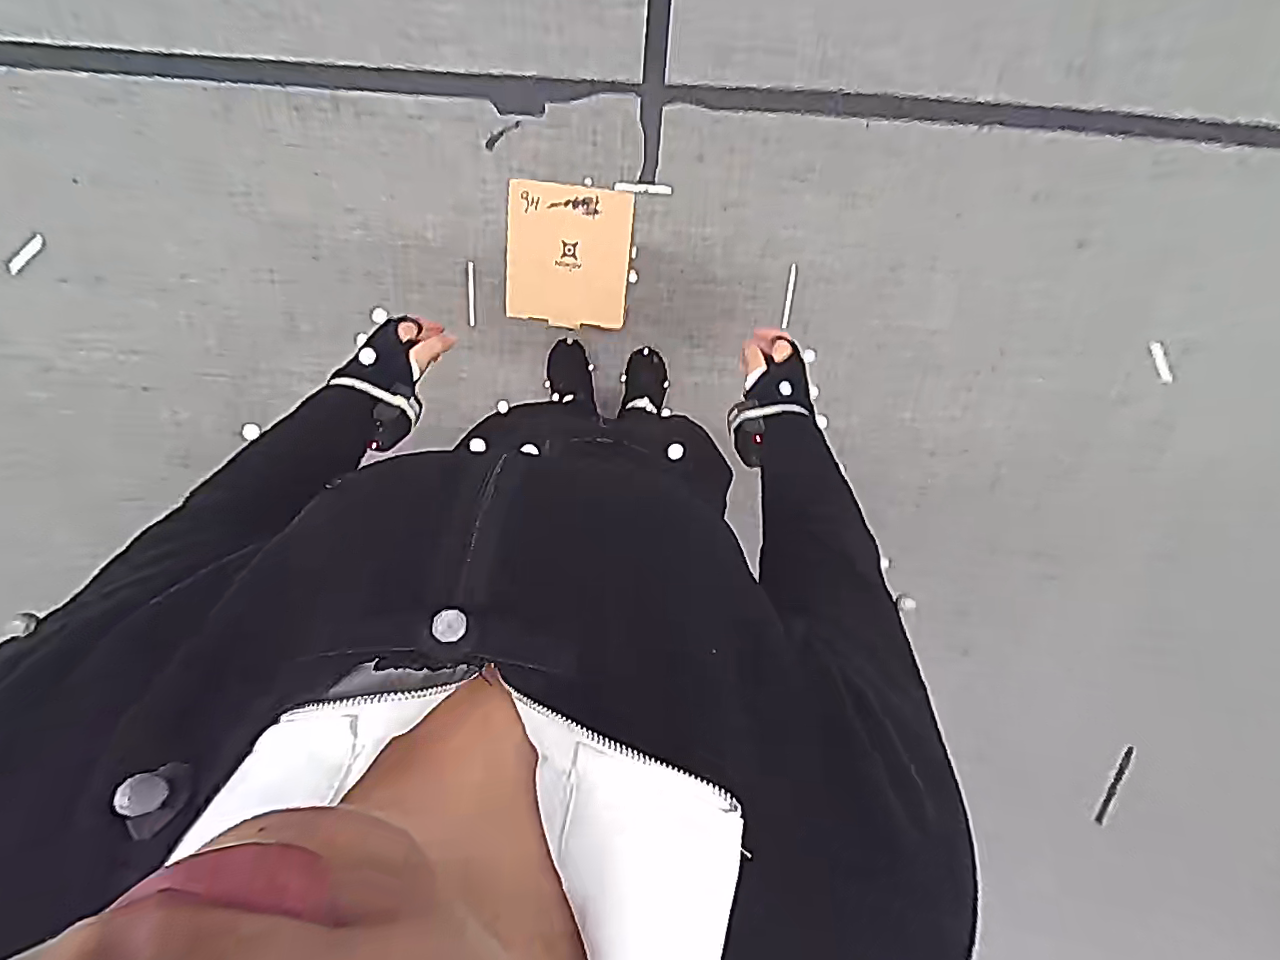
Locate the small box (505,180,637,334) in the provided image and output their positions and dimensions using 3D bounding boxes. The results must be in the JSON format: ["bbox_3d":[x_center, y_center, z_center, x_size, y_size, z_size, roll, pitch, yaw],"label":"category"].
[{"bbox_3d":[-0.096,-0.321,0.797,0.168,0.176,0.179,7,110,-2],"label":"small box"}]
